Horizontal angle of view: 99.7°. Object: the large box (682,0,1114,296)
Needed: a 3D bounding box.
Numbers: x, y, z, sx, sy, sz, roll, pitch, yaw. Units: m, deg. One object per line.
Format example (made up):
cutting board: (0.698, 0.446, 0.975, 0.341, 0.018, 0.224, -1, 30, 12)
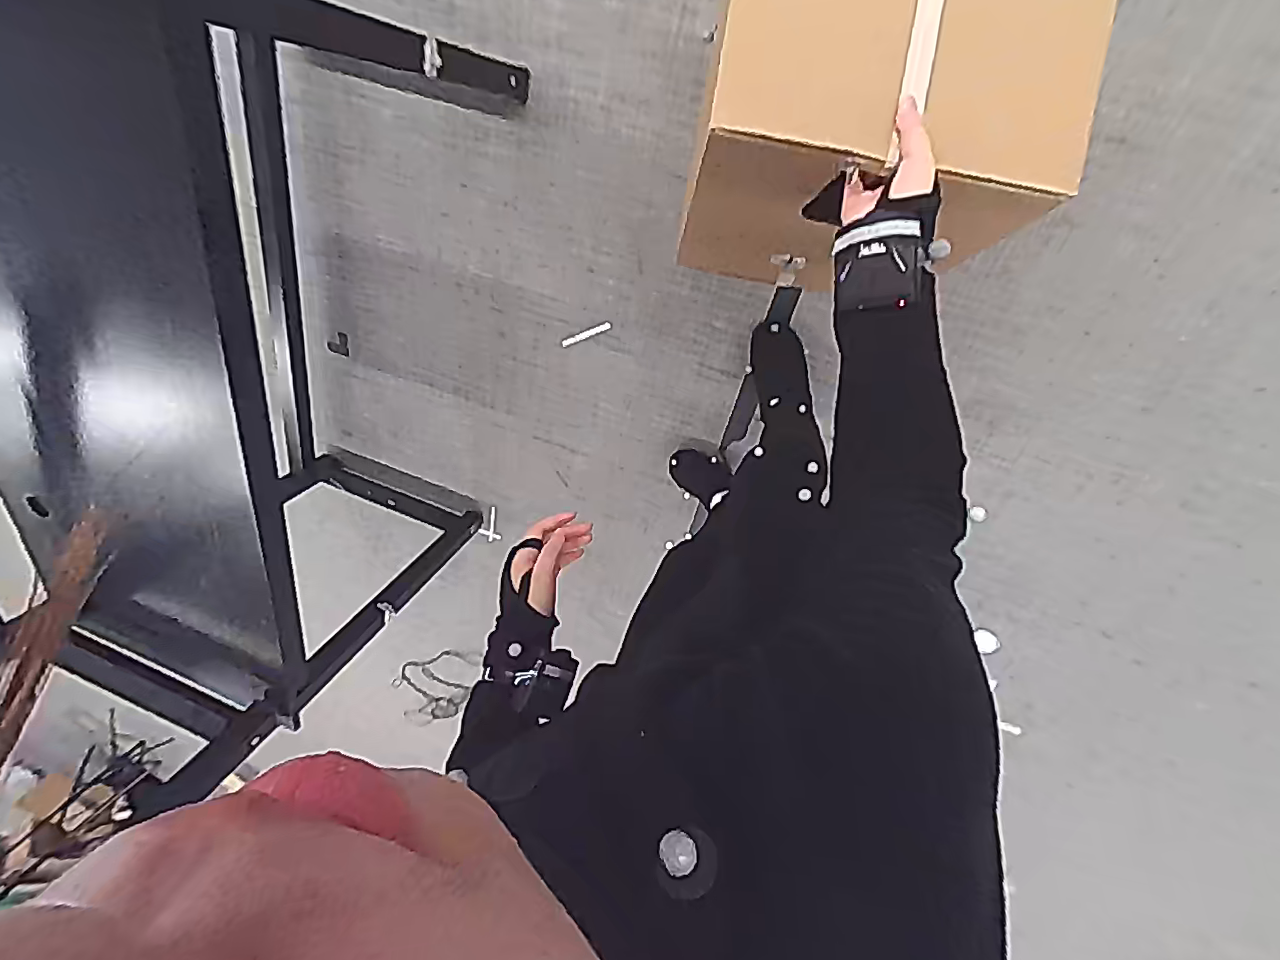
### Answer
large box: (0.232, -0.455, 0.574, 0.320, 0.320, 0.408, 9, 91, -2)
